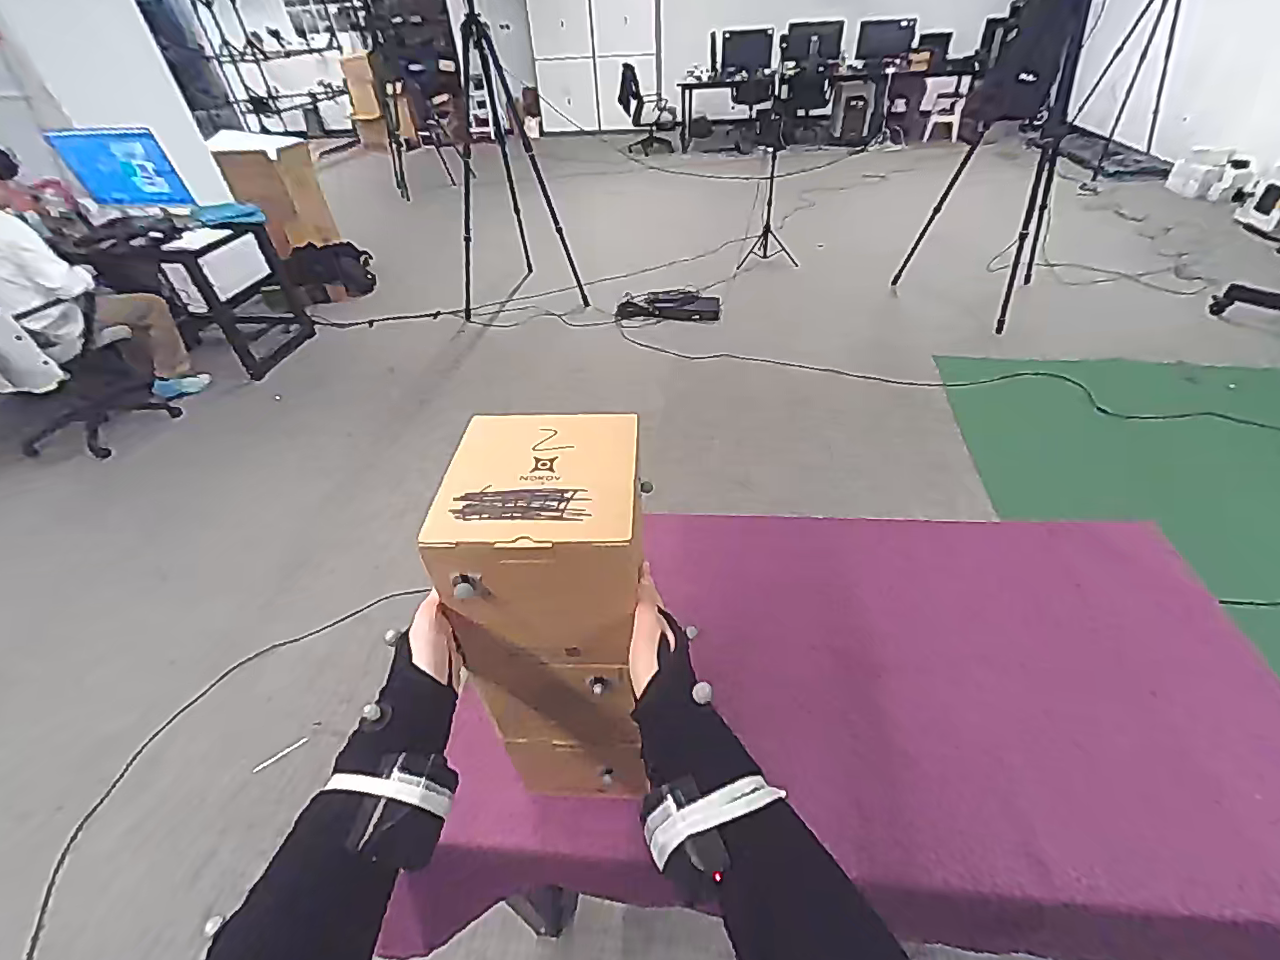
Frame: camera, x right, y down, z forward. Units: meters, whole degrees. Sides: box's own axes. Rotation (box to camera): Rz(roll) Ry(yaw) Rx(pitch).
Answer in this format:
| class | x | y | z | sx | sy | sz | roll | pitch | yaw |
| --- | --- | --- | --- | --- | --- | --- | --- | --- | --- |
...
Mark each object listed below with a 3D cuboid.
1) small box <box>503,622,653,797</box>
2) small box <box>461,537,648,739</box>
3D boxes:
| class | x | y | z | sx | sy | sz | roll | pitch | yaw |
| --- | --- | --- | --- | --- | --- | --- | --- | --- | --- |
| small box | -0.070 | 0.307 | 0.734 | 0.168 | 0.176 | 0.179 | 1 | 41 | 4 |
| small box | -0.082 | 0.184 | 0.629 | 0.179 | 0.176 | 0.168 | 0 | 41 | 2 |
